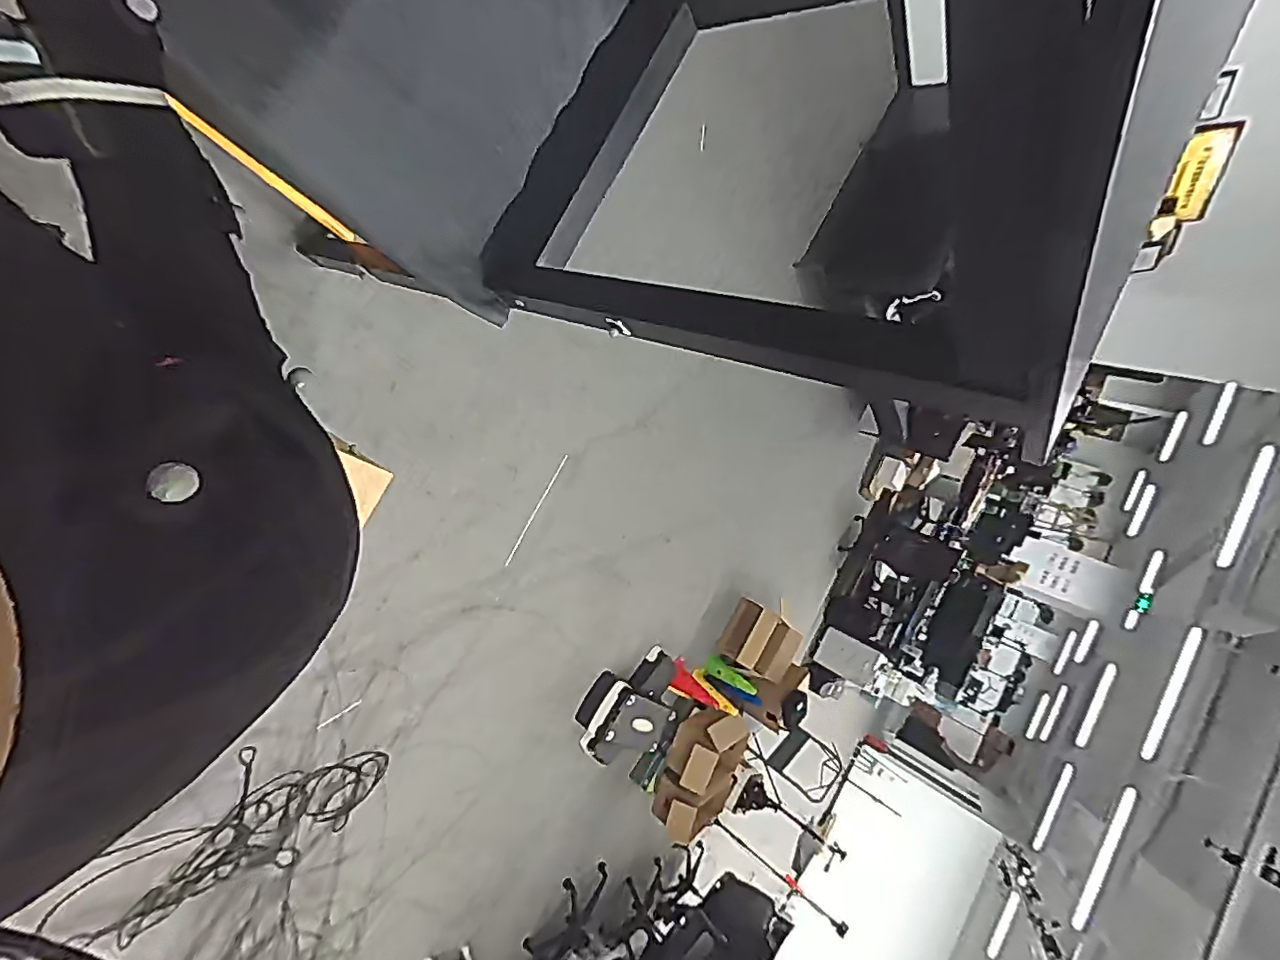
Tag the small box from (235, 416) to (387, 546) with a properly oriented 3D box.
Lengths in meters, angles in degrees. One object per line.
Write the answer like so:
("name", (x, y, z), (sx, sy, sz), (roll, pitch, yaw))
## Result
("small box", (-0.636, -0.001, 1.041), (0.168, 0.176, 0.179), (36, 81, -53))
